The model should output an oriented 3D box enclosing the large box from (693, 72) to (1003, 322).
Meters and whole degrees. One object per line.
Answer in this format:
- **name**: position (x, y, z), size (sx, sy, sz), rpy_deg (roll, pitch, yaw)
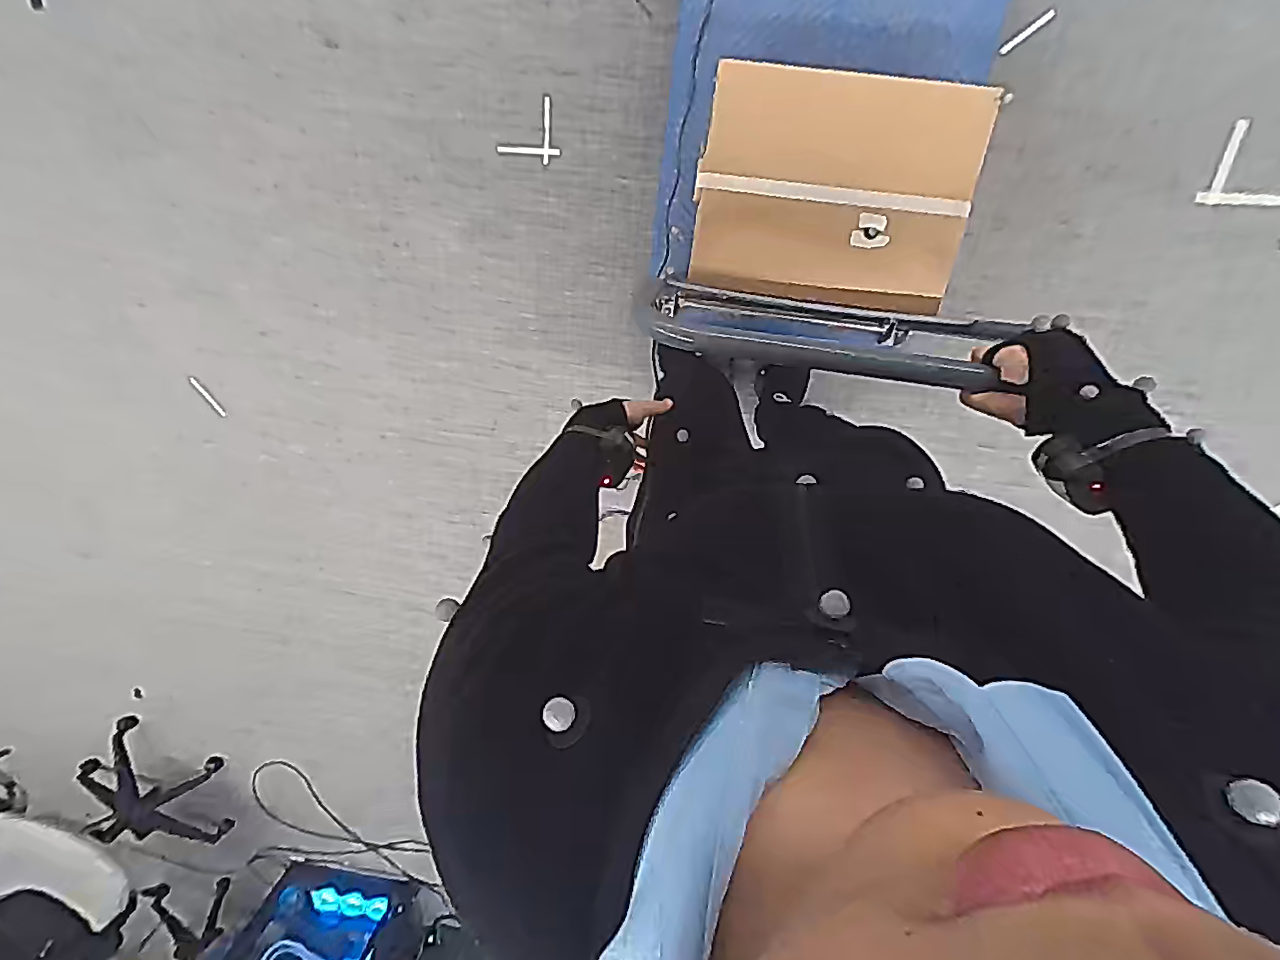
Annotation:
- **large box**: position (0.309, -0.466, 0.955), size (0.408, 0.320, 0.320), rpy_deg (8, 111, 3)
